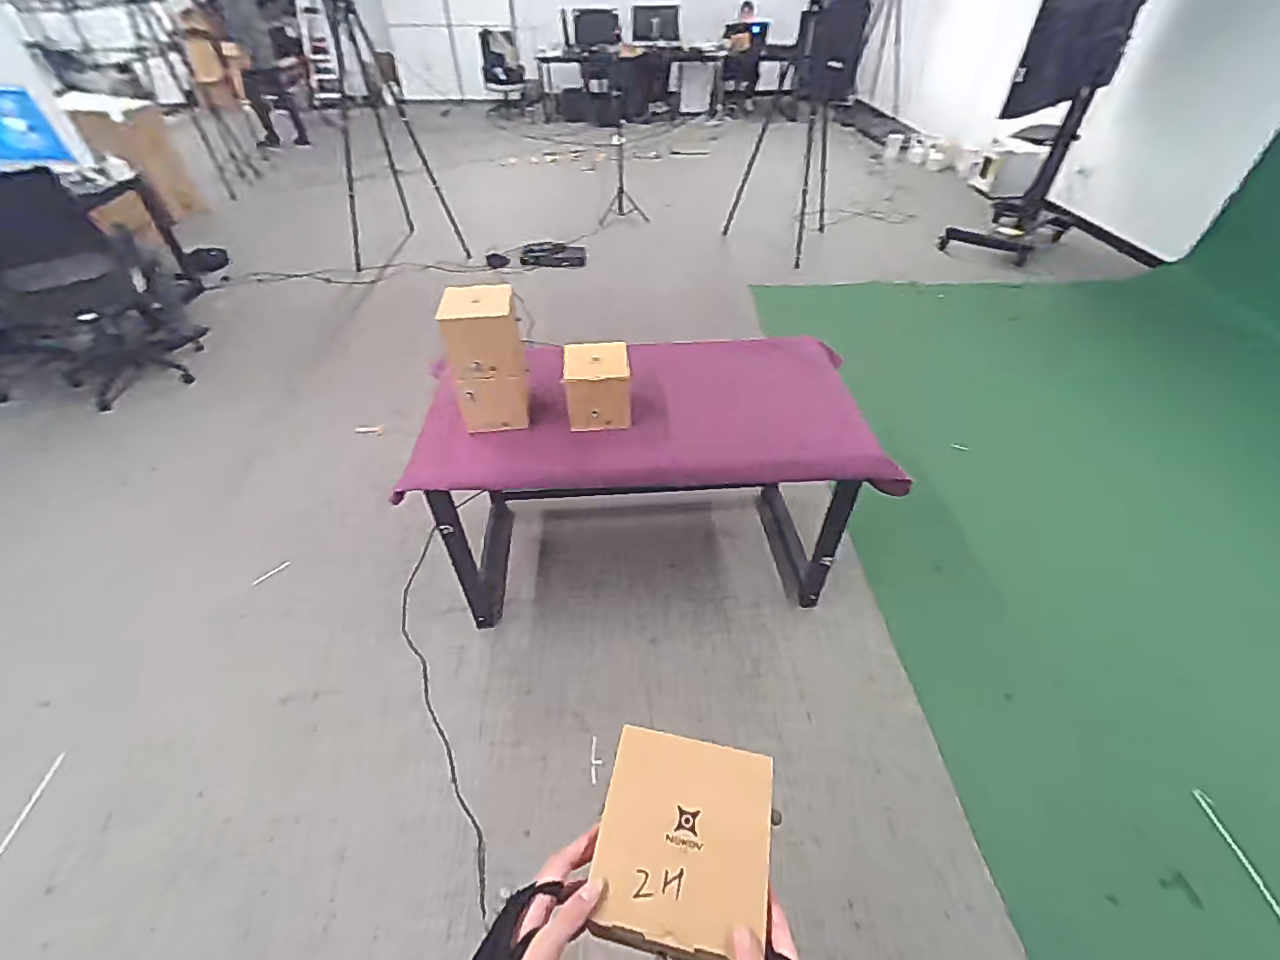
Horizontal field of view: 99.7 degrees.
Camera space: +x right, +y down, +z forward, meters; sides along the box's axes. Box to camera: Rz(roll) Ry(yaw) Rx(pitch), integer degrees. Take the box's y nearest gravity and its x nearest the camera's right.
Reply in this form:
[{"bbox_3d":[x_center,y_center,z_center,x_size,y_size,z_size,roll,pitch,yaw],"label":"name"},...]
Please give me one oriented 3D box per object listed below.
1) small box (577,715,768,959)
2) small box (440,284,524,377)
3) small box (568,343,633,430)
[{"bbox_3d":[0.038,0.391,0.590,0.168,0.176,0.179,9,46,9],"label":"small box"},{"bbox_3d":[-0.387,-0.375,1.359,0.168,0.176,0.179,-4,44,-5],"label":"small box"},{"bbox_3d":[-0.109,-0.255,1.476,0.168,0.176,0.179,-3,45,-4],"label":"small box"}]
